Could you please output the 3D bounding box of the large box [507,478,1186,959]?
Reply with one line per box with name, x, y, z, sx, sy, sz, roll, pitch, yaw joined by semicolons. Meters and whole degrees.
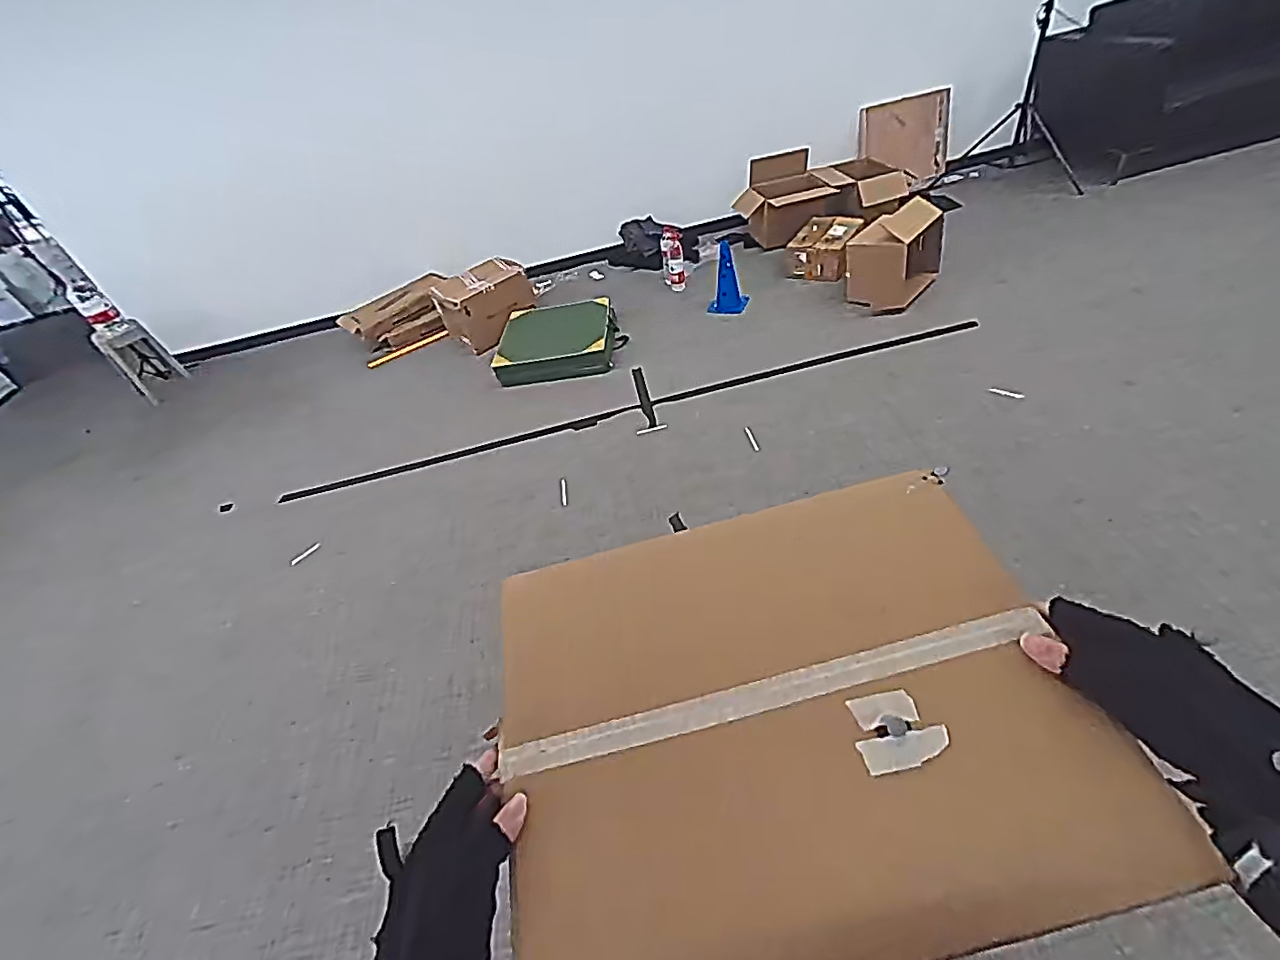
large box;0.122;0.256;0.520;0.408;0.320;0.320;-15;50;-1
